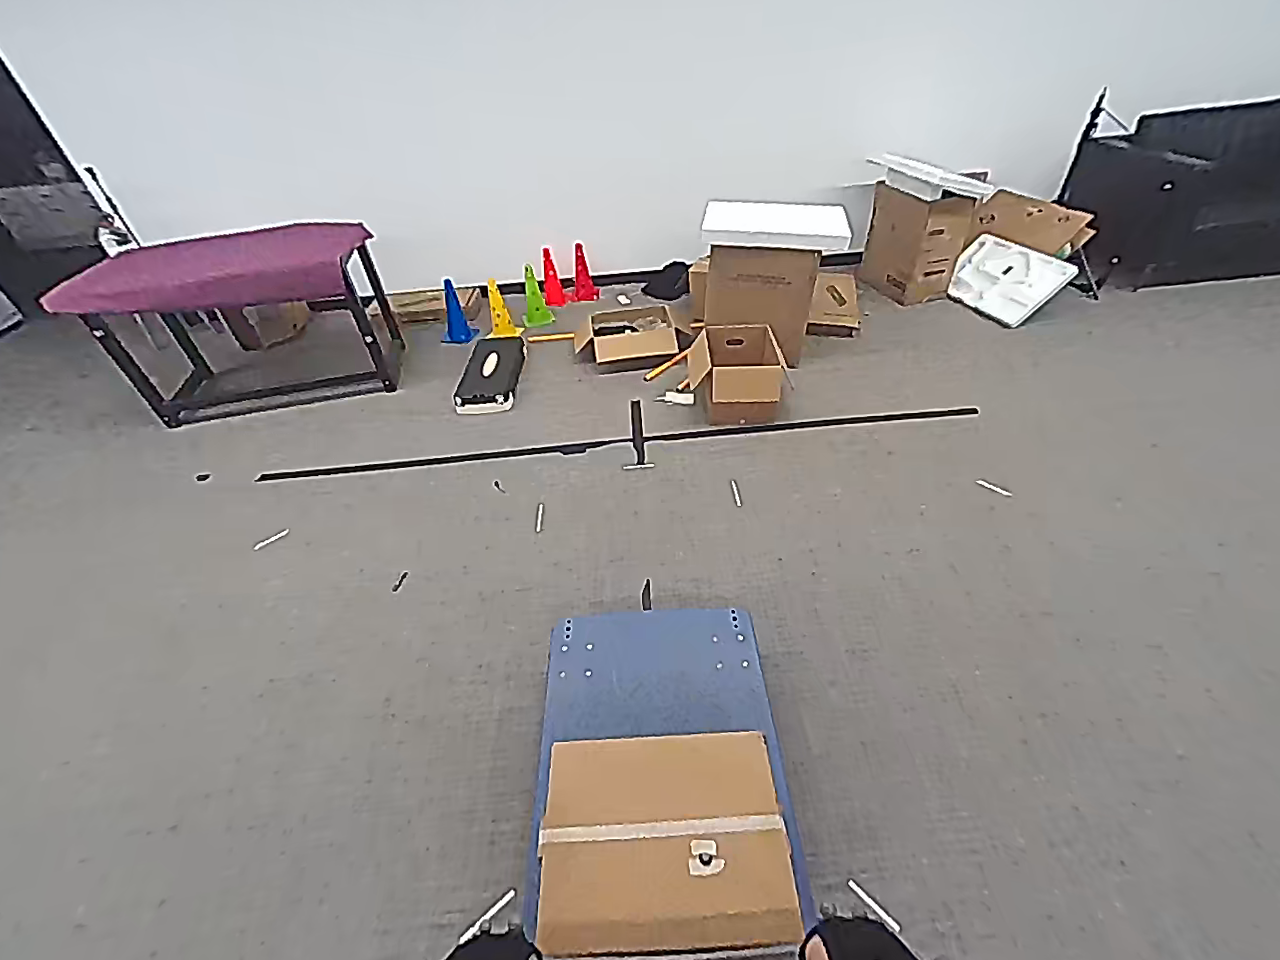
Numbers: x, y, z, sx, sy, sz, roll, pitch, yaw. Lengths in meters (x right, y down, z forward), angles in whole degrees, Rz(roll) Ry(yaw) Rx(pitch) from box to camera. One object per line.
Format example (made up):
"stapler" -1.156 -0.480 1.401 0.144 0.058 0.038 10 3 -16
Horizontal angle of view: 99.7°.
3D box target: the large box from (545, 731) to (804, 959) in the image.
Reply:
"large box" 0.049 0.711 1.023 0.408 0.320 0.320 -3 41 -1
